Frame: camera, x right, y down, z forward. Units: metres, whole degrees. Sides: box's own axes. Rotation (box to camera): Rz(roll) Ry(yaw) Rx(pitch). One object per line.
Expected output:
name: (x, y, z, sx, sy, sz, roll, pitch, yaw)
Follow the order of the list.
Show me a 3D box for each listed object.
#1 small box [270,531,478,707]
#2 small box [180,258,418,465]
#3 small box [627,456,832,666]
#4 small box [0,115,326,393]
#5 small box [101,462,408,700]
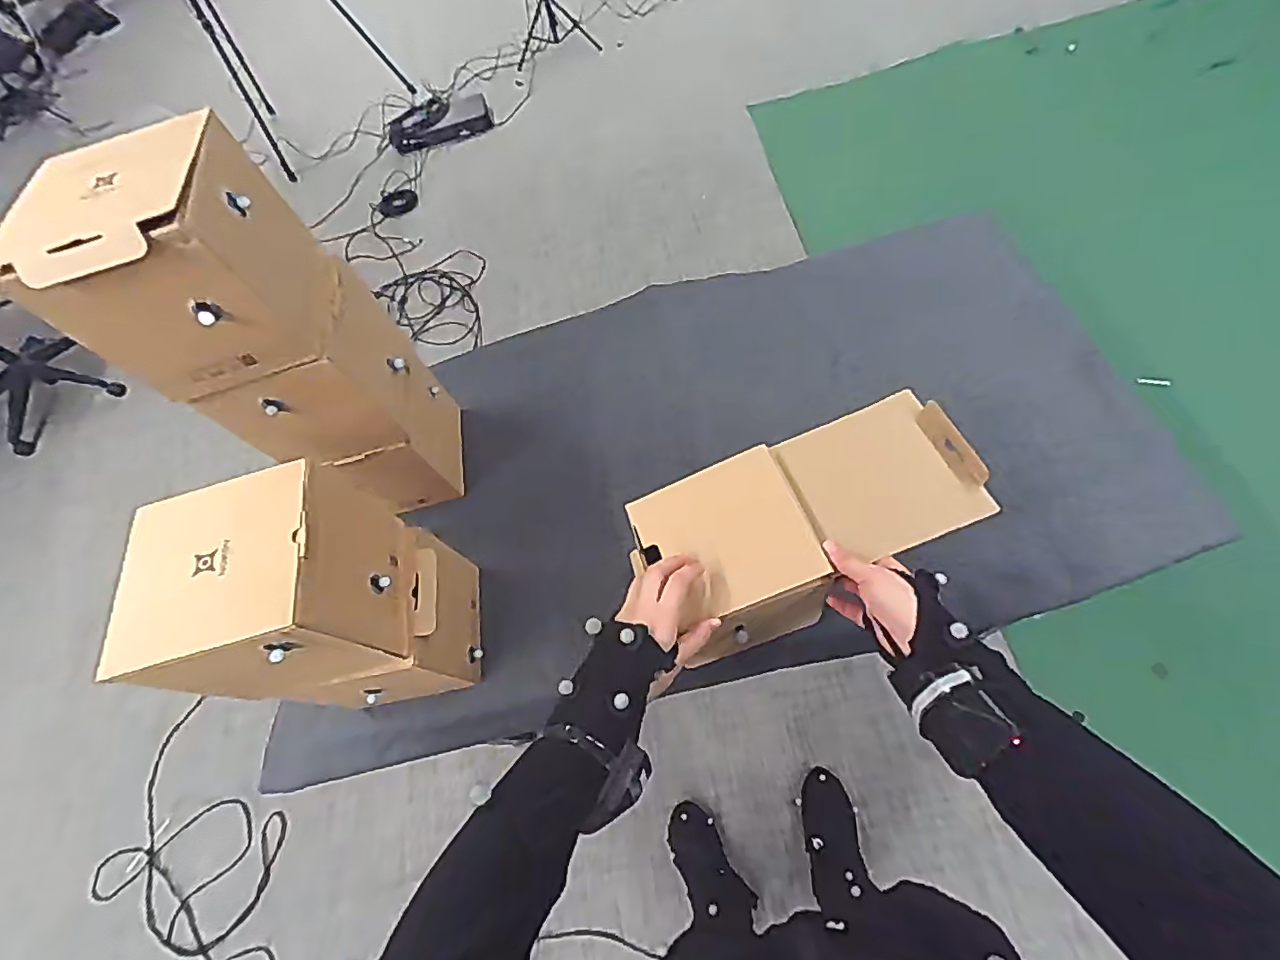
small box: (-0.317, 0.182, 0.683, 0.179, 0.176, 0.168, -13, 62, 5)
small box: (-0.405, -0.136, 0.675, 0.179, 0.176, 0.168, -14, 63, 3)
small box: (0.103, 0.105, 0.641, 0.179, 0.176, 0.168, -20, 59, 0)
small box: (-0.439, -0.207, 0.533, 0.168, 0.176, 0.179, -17, 61, 1)
small box: (-0.360, 0.111, 0.544, 0.179, 0.176, 0.168, -17, 61, 2)
